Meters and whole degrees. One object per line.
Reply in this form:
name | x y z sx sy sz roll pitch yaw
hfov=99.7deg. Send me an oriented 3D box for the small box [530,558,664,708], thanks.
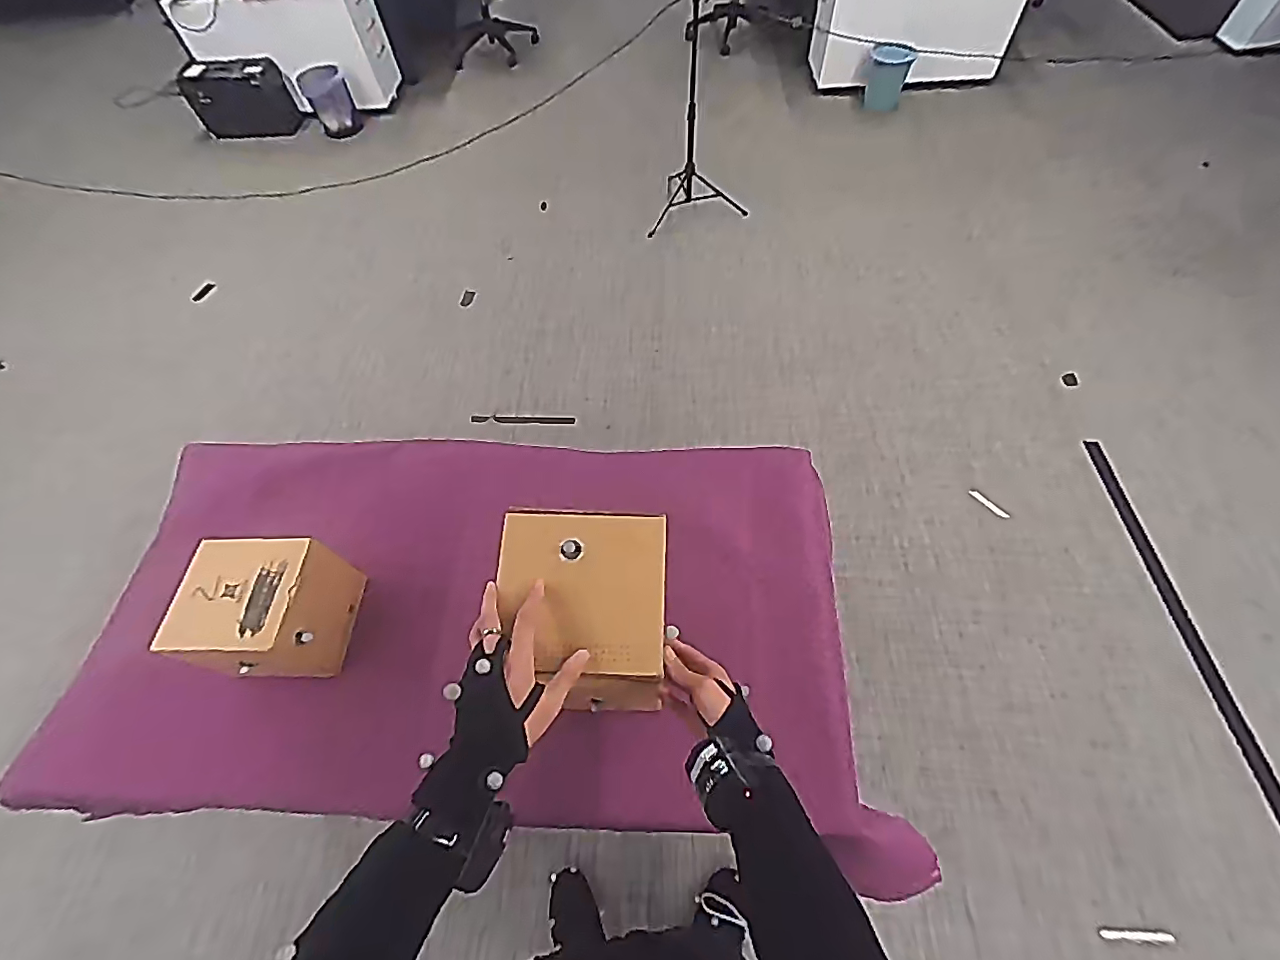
small box | -0.050 0.228 0.788 0.168 0.176 0.179 0 58 4
